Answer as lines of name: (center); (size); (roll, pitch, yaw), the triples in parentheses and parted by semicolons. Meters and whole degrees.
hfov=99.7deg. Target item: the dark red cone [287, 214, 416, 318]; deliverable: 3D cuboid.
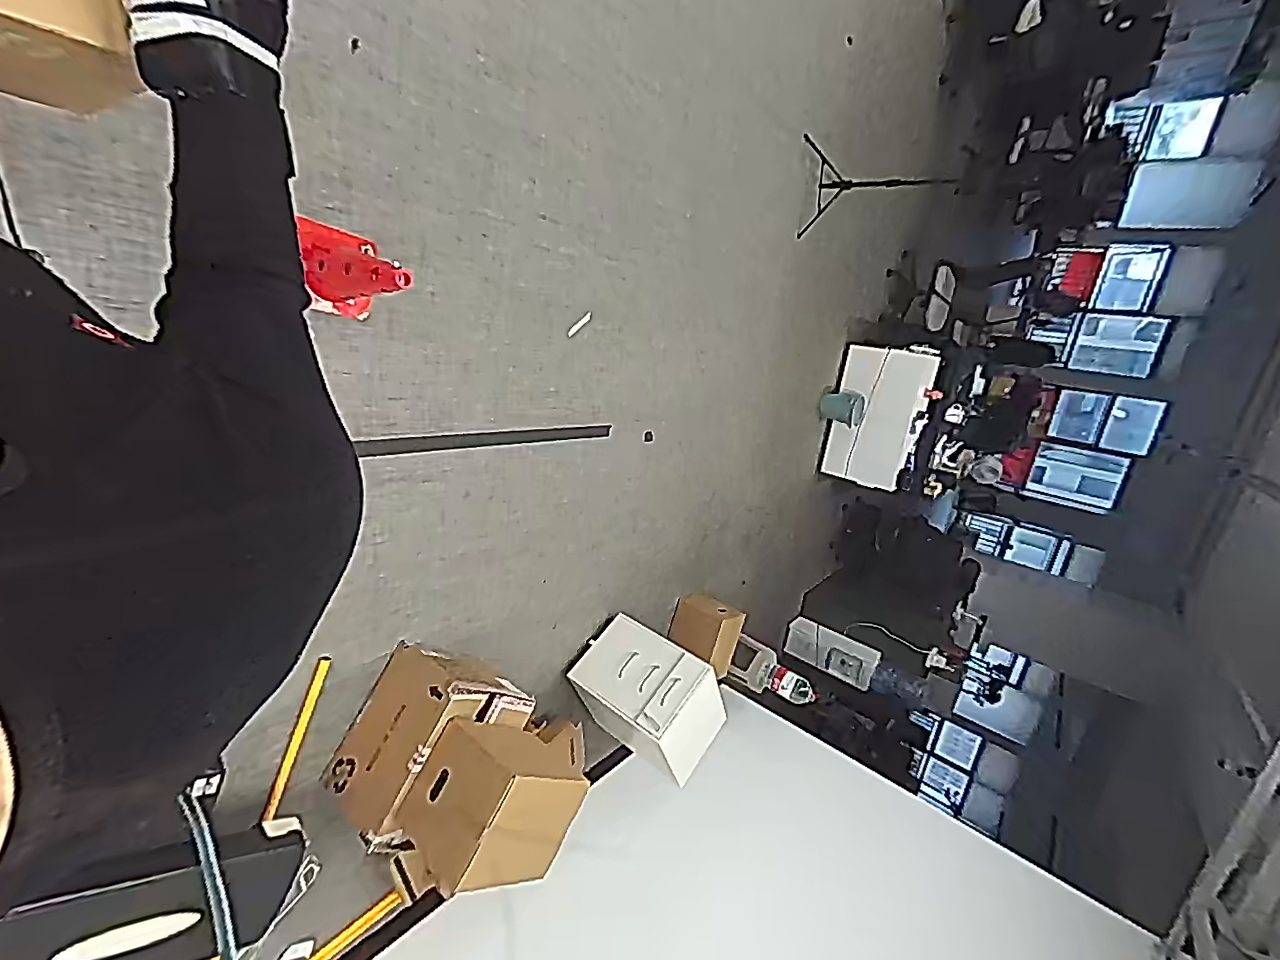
dark red cone: (-0.612, -0.461, 1.207); (0.201, 0.394, 0.202); (-1, 107, -51)

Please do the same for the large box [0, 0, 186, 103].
large box: (-0.535, -0.443, 0.260); (0.408, 0.320, 0.320); (-15, 119, -52)
